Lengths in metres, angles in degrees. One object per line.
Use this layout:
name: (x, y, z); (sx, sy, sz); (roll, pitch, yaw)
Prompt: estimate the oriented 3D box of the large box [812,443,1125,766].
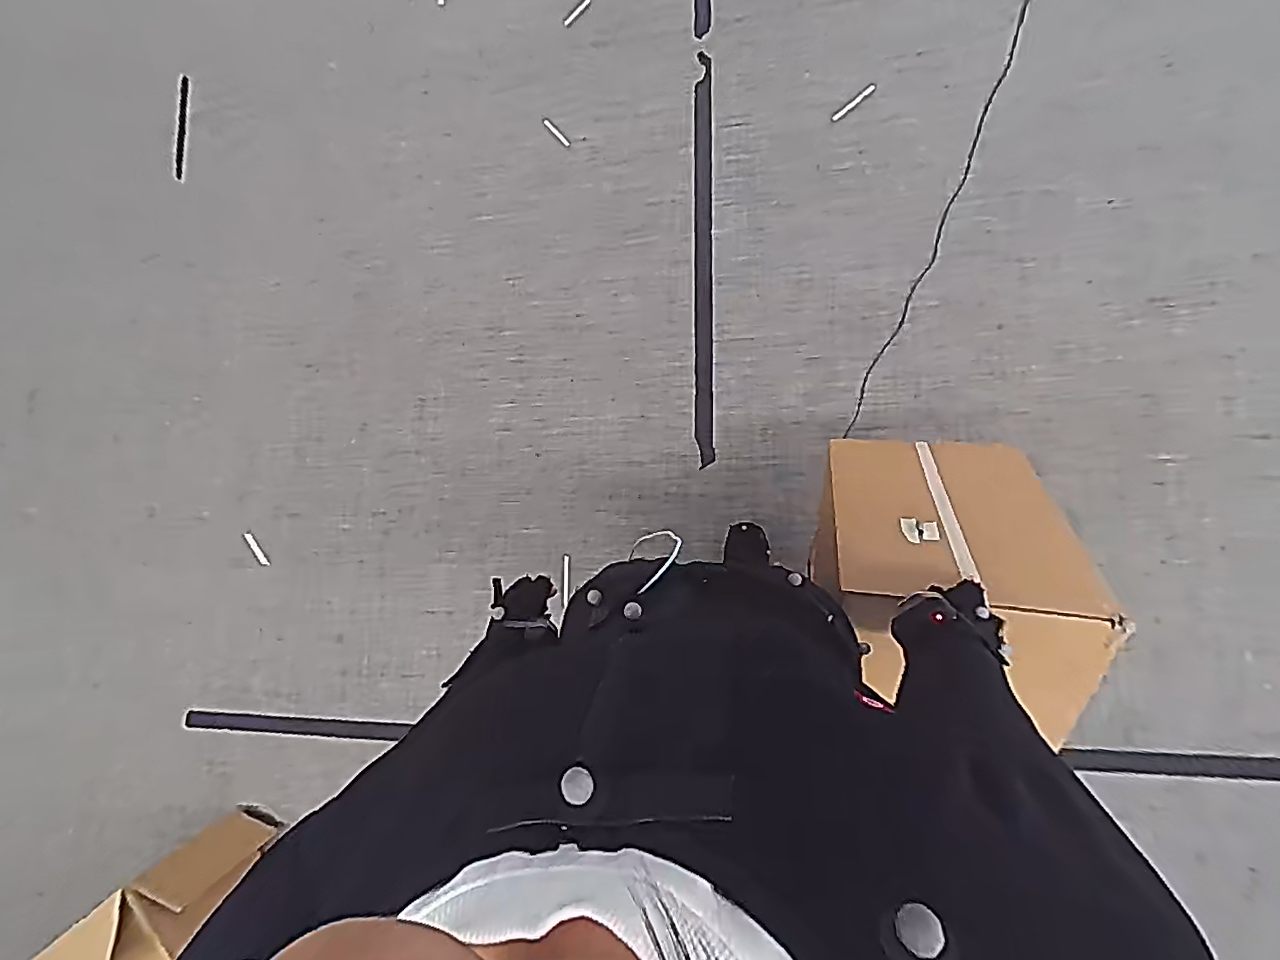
large box: (0.465, 0.176, 0.894); (0.320, 0.408, 0.320); (3, 124, 14)
